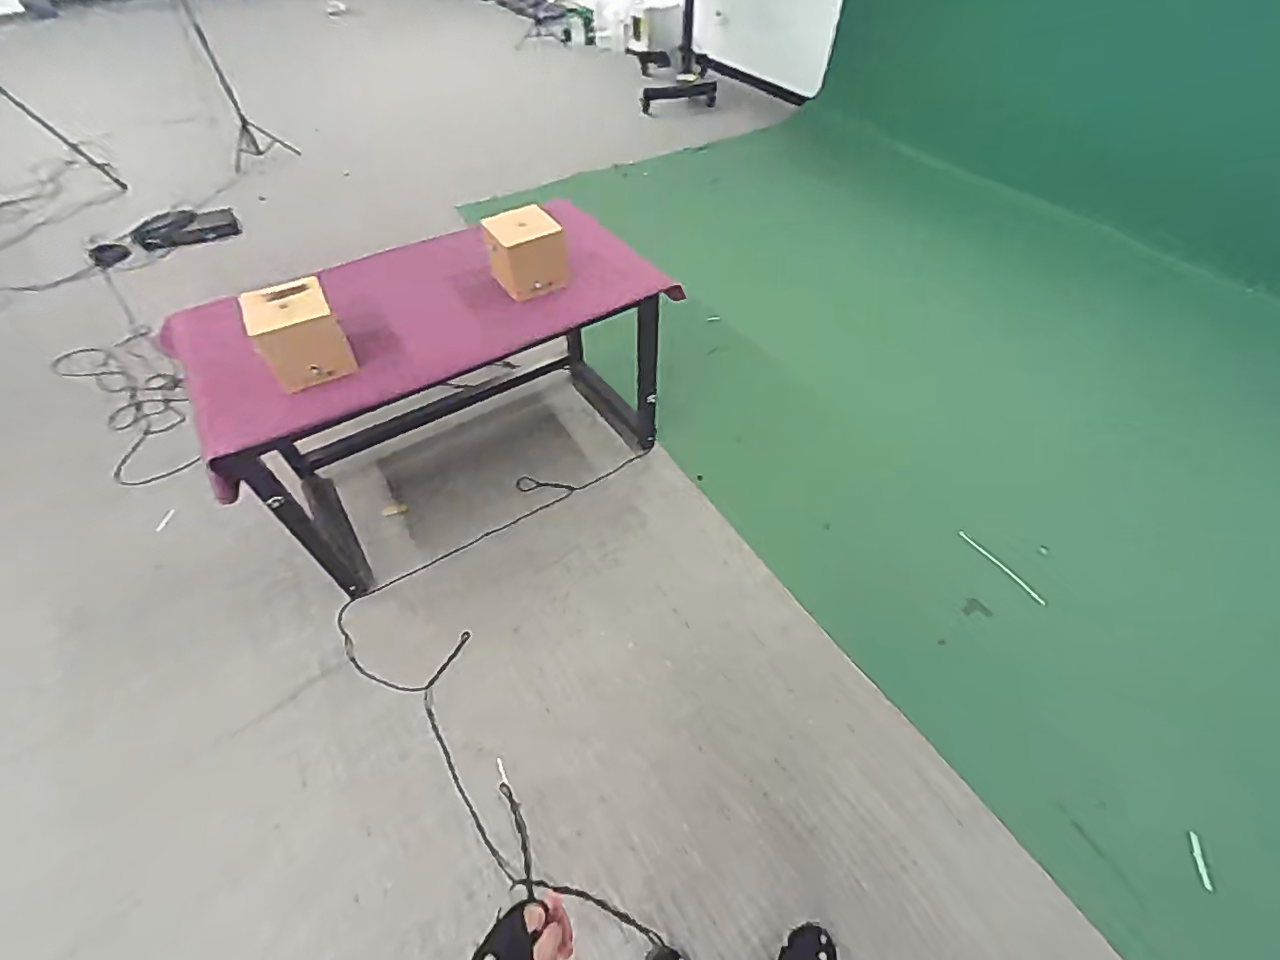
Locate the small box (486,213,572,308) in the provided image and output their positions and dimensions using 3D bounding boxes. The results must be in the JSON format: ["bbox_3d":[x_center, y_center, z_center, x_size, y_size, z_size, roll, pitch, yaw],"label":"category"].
[{"bbox_3d":[-0.304,-0.607,1.497,0.168,0.176,0.179,-26,55,-18],"label":"small box"}]
